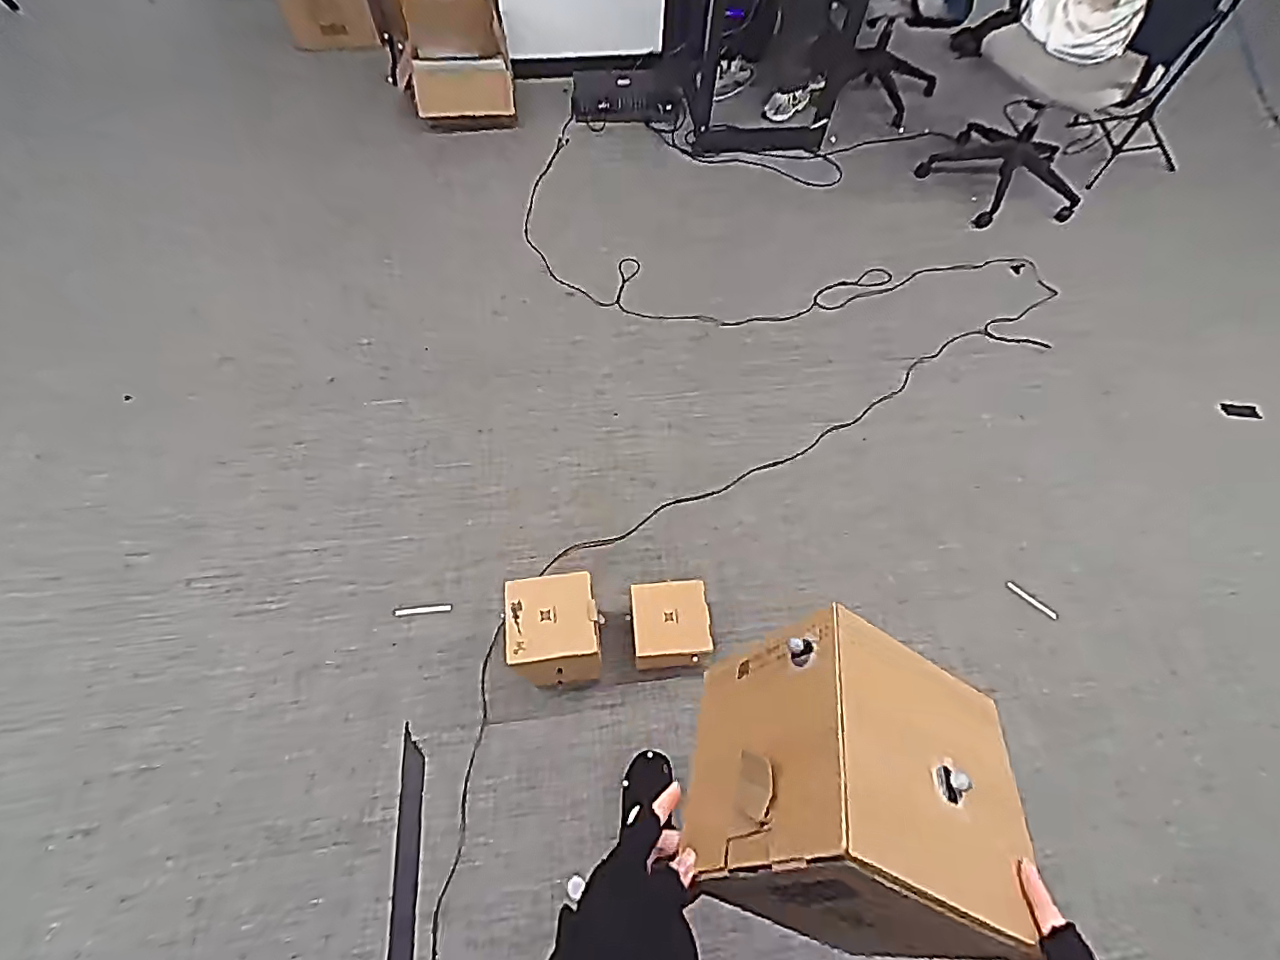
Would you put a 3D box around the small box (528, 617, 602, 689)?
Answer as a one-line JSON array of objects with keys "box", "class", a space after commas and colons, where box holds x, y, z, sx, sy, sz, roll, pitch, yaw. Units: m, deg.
[{"box": [-0.179, 0.383, 1.276, 0.168, 0.176, 0.179, -6, 63, -4], "class": "small box"}]

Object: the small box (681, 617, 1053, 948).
[{"box": [0.159, 0.231, 0.422, 0.179, 0.168, 0.176, 32, 42, -12], "class": "small box"}]

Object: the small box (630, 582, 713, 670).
[{"box": [0.068, 0.355, 1.303, 0.179, 0.176, 0.168, -3, 62, -5], "class": "small box"}]

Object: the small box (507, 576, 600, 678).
[{"box": [-0.175, 0.310, 1.129, 0.179, 0.176, 0.168, -6, 62, -5], "class": "small box"}]
